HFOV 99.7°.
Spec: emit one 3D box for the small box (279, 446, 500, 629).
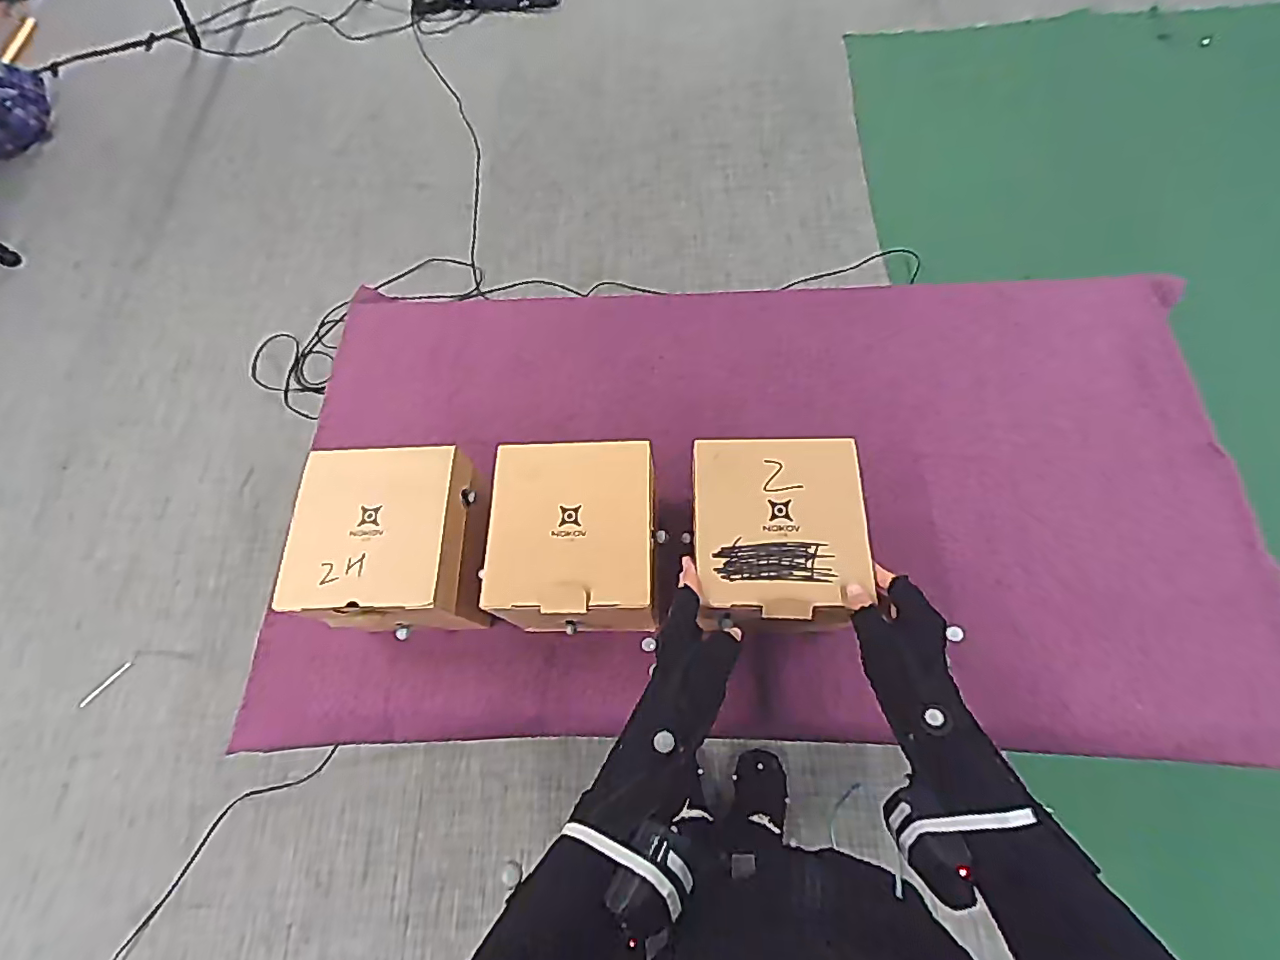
[{"bbox_3d":[-0.273,0.075,0.638,0.168,0.176,0.179,-2,68,4],"label":"small box"}]
